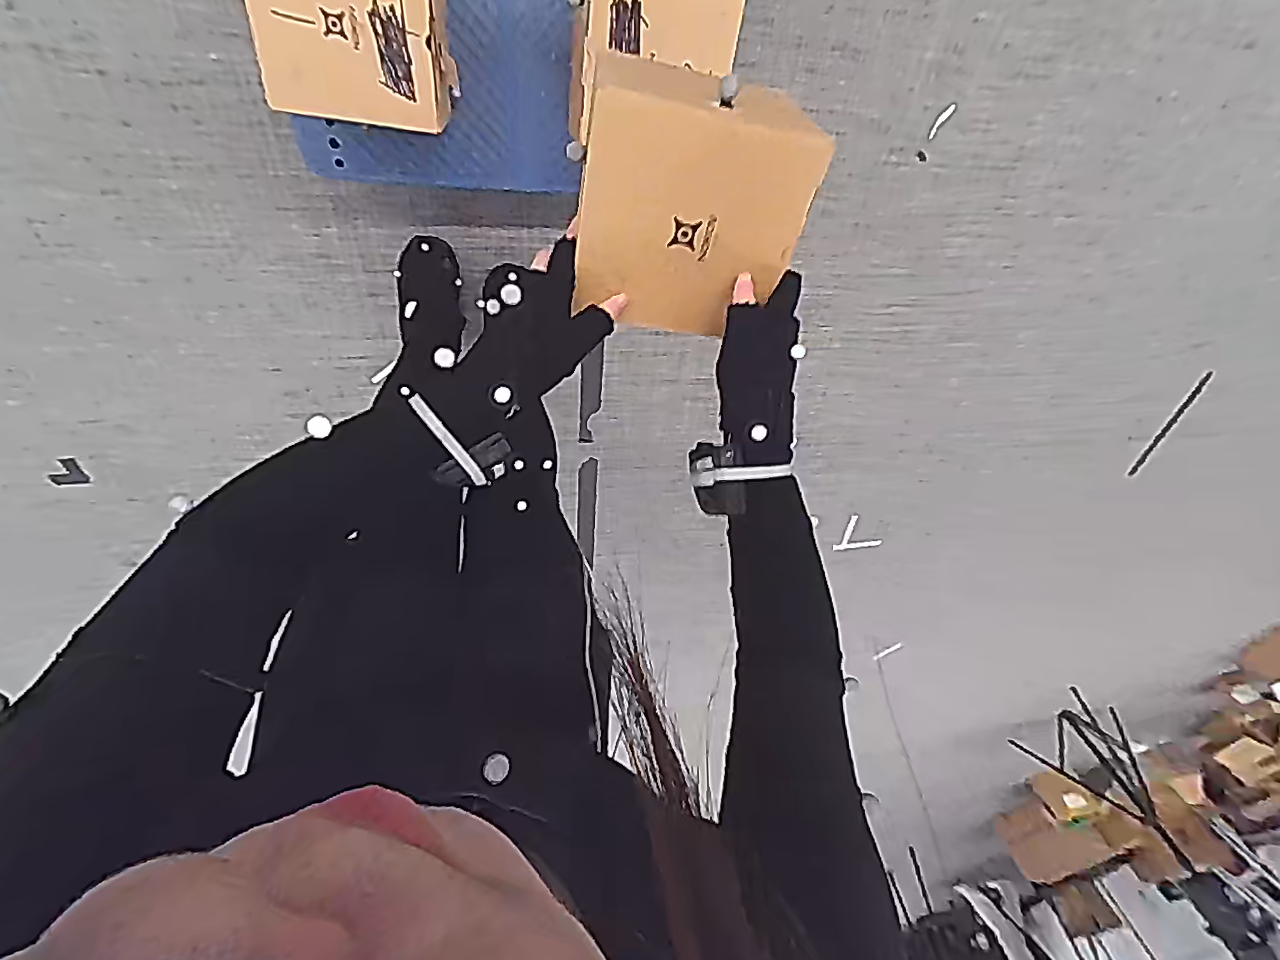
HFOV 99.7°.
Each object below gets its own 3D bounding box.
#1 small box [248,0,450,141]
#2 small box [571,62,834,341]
[{"bbox_3d":[-0.313,-0.505,0.614,0.179,0.176,0.168,1,128,-13],"label":"small box"},{"bbox_3d":[0.035,-0.250,0.485,0.179,0.176,0.168,5,134,-11],"label":"small box"}]
